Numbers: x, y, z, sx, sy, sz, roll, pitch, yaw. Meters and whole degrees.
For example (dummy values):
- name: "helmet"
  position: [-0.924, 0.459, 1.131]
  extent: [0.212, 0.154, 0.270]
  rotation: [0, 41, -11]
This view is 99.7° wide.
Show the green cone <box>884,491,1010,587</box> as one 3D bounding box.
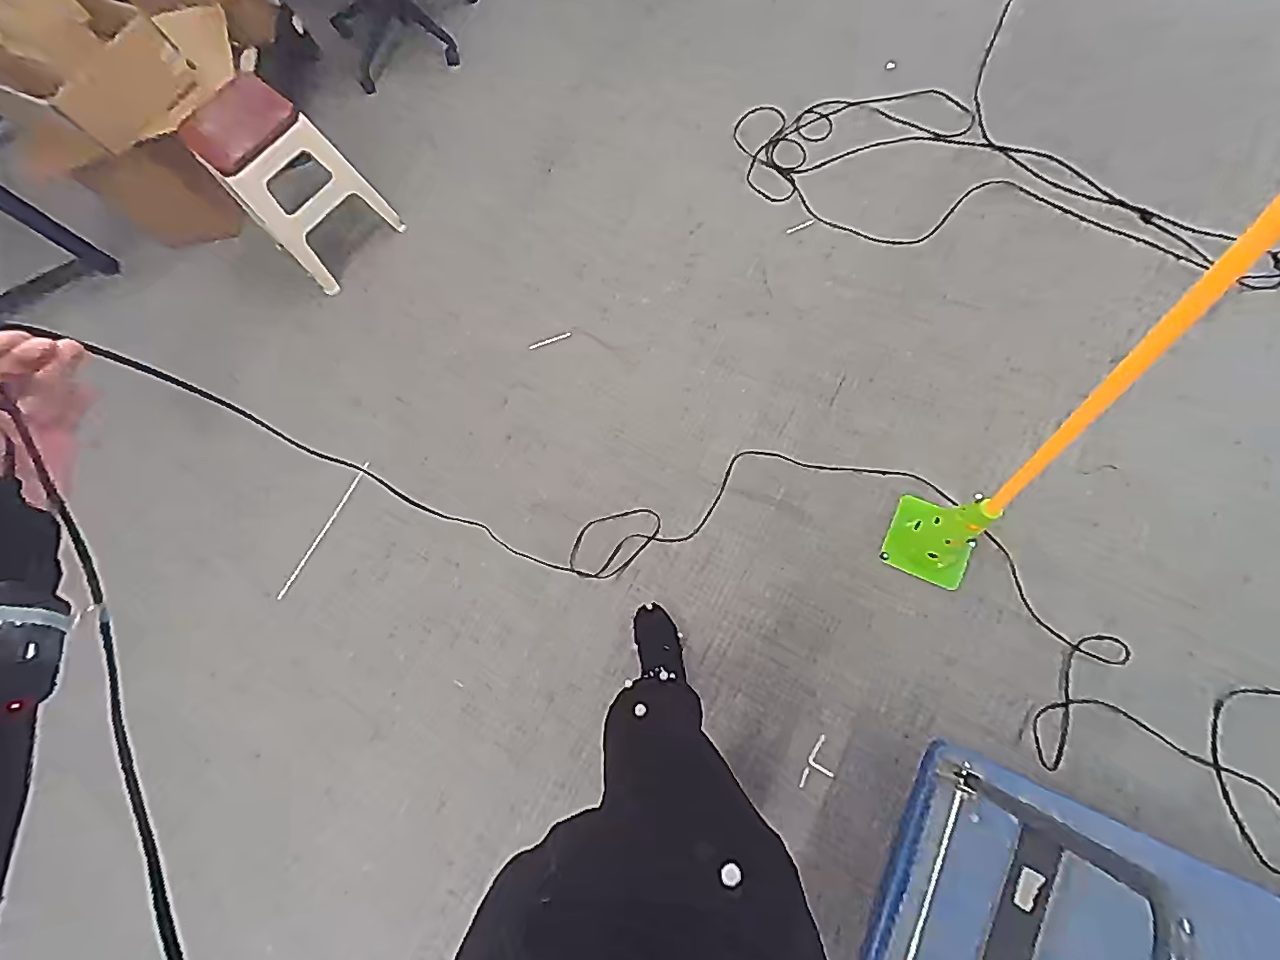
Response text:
- name: "green cone"
  position: [0.728, 0.100, 1.225]
  extent: [0.200, 0.368, 0.202]
  rotation: [23, 77, 14]
